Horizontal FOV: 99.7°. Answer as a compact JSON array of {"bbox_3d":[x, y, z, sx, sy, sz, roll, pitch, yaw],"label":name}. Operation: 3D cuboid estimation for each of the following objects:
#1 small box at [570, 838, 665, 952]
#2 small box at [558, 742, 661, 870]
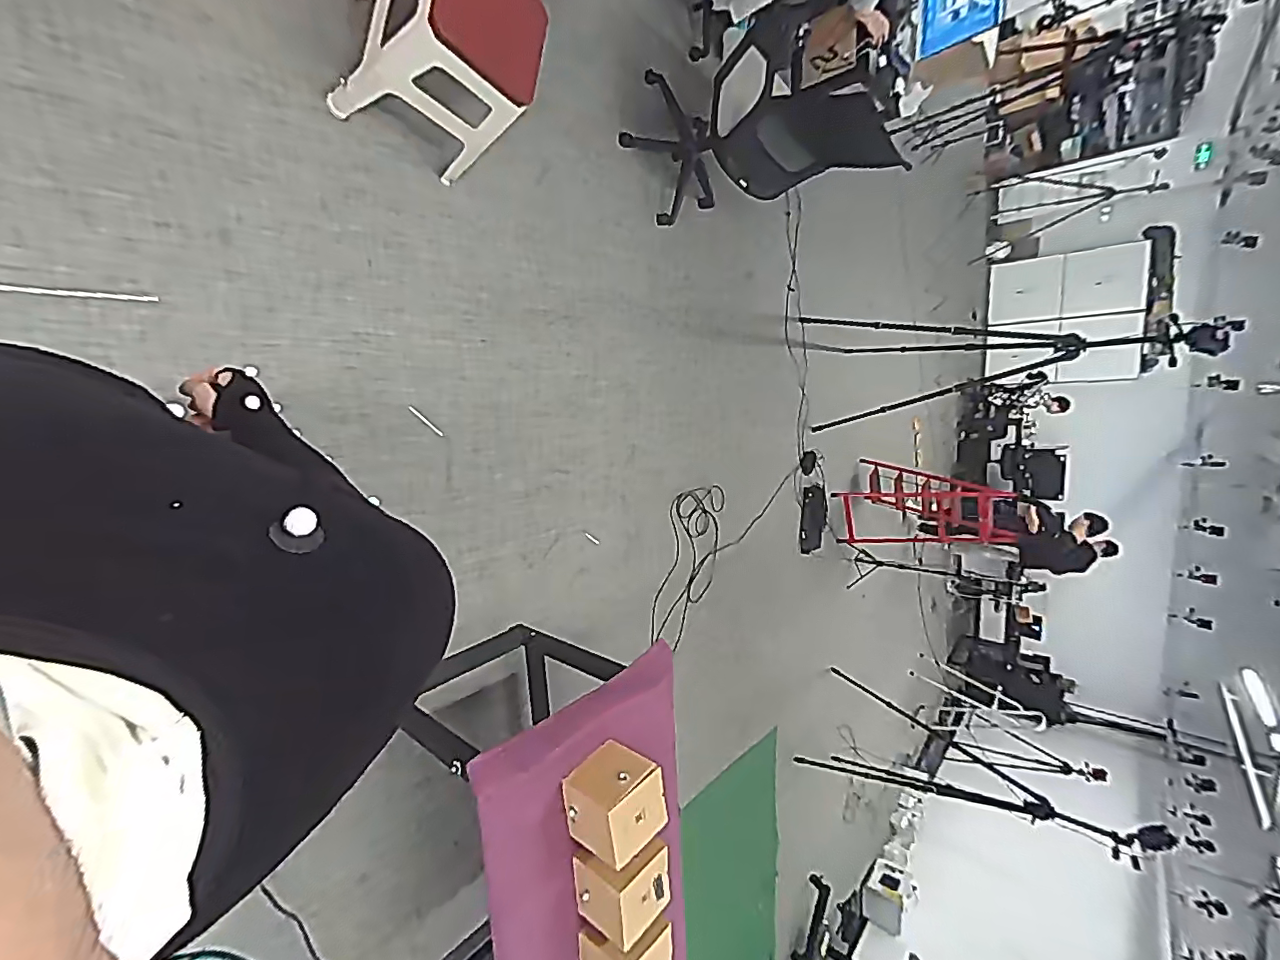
[{"bbox_3d":[-0.055,1.003,1.361,0.179,0.176,0.168,-13,104,-46],"label":"small box"},{"bbox_3d":[-0.073,0.780,1.317,0.179,0.176,0.168,-20,108,-45],"label":"small box"}]
